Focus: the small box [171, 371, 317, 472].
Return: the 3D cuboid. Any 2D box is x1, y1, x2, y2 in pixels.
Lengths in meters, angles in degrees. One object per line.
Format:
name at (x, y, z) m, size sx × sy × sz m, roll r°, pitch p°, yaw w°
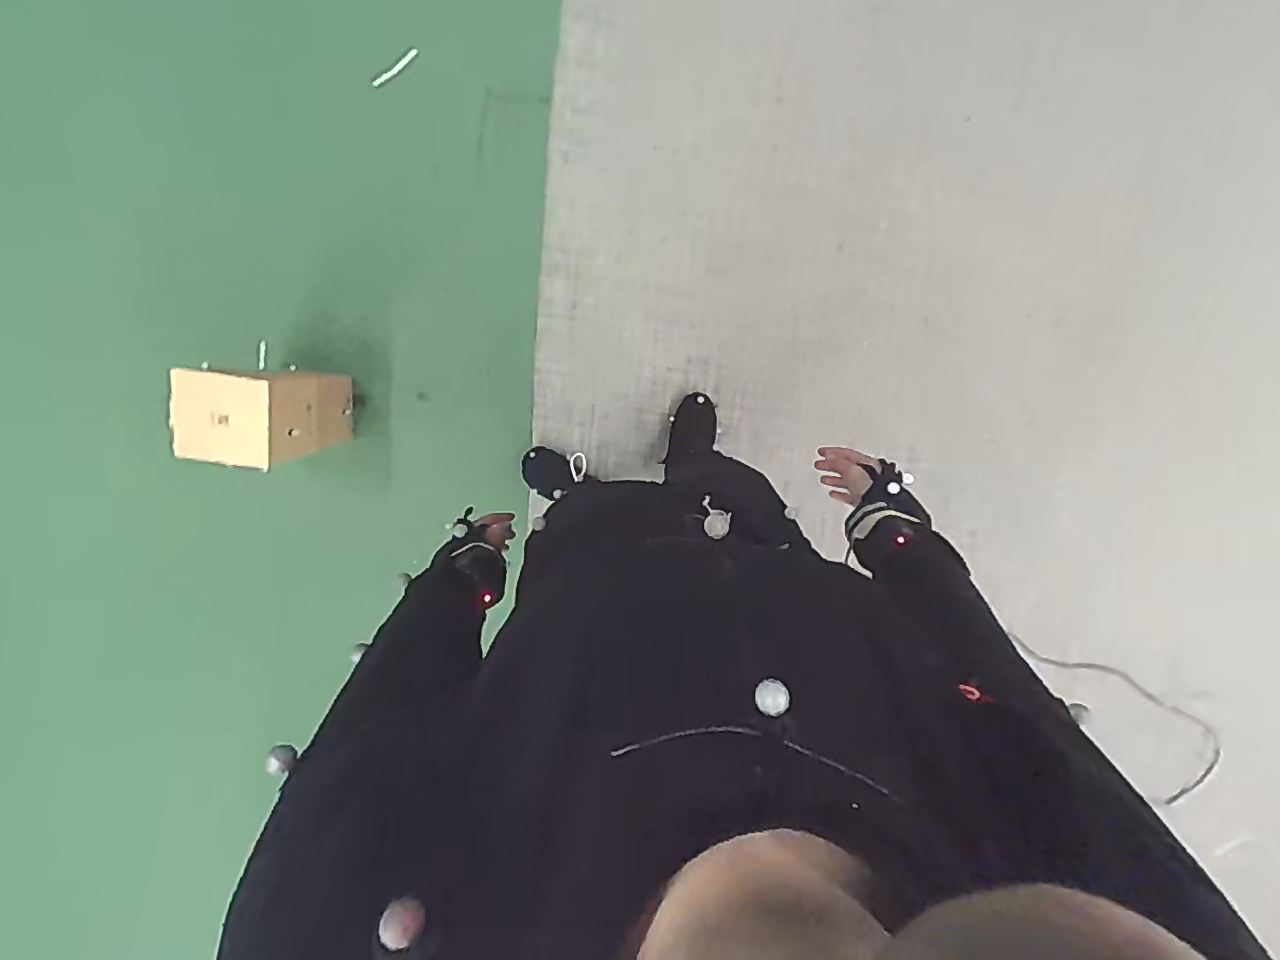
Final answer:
small box at (-0.770, -0.123, 1.070) m, size 0.179 × 0.176 × 0.168 m, roll 7°, pitch 102°, yaw -2°
